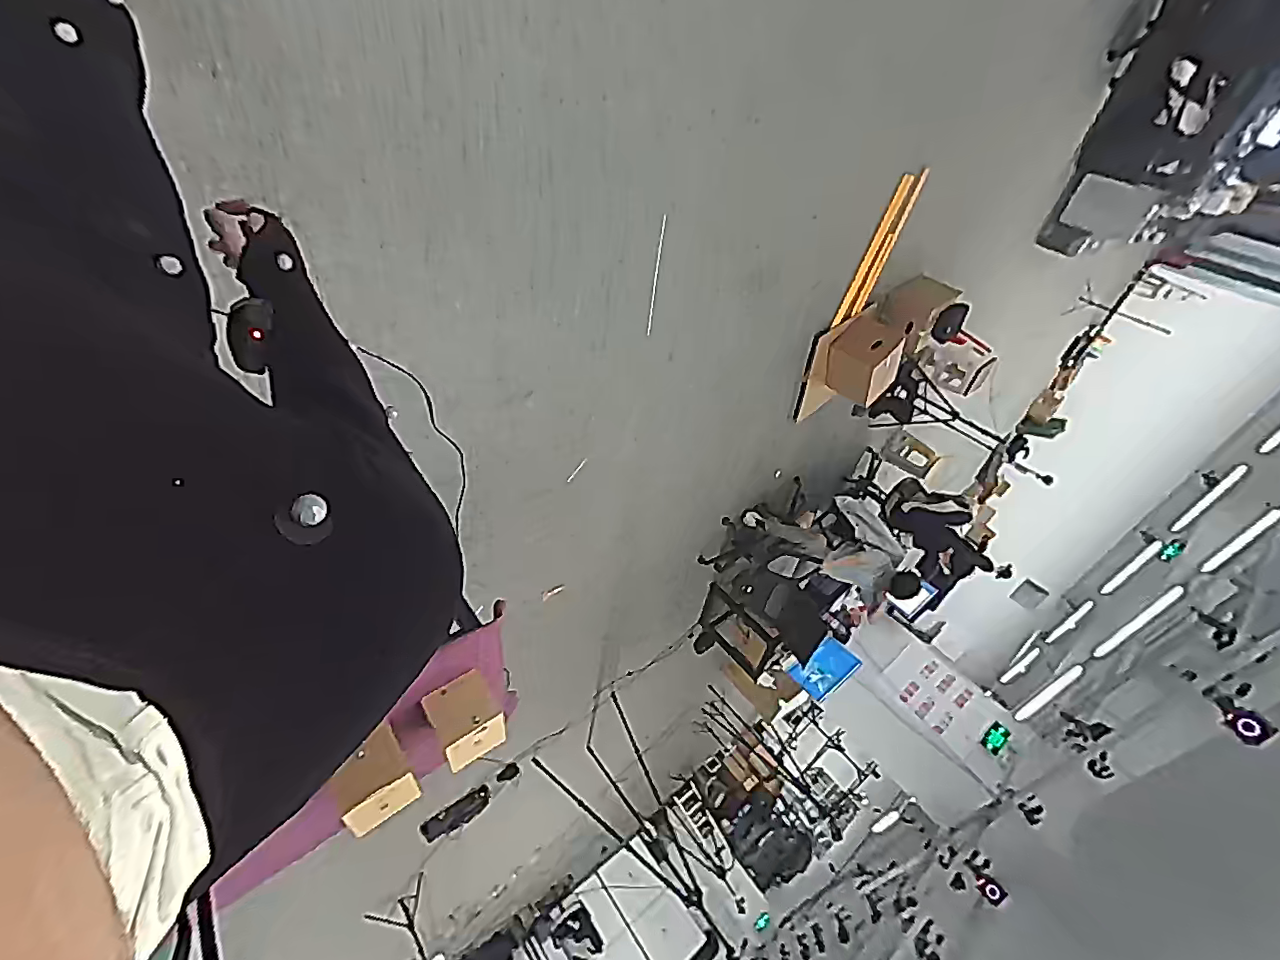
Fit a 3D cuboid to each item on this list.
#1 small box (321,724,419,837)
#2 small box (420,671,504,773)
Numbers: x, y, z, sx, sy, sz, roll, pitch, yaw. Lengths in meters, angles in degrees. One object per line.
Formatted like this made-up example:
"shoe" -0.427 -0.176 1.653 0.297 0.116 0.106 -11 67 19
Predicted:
"small box" -0.696 0.771 1.400 0.168 0.176 0.179 -26 142 -32
"small box" -0.502 0.679 1.531 0.168 0.176 0.179 -26 143 -33
